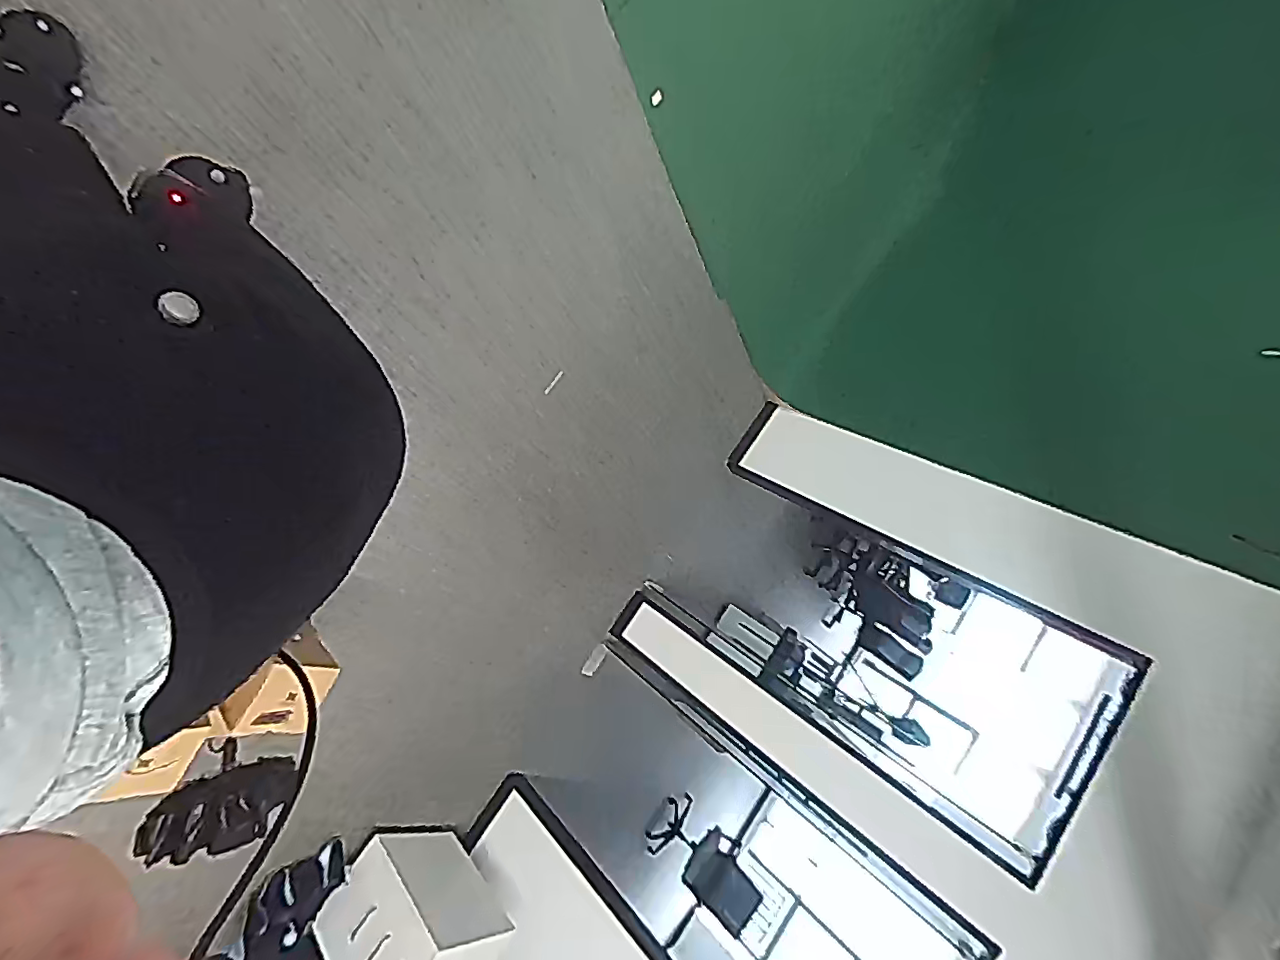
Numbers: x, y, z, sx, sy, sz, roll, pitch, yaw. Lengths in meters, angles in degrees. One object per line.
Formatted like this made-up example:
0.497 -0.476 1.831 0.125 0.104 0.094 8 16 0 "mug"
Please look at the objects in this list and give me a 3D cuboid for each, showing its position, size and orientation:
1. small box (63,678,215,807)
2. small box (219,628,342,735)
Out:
-1.038 0.529 1.119 0.168 0.176 0.179 -58 146 1 "small box"
-0.867 0.484 1.297 0.179 0.176 0.168 -61 145 -6 "small box"
